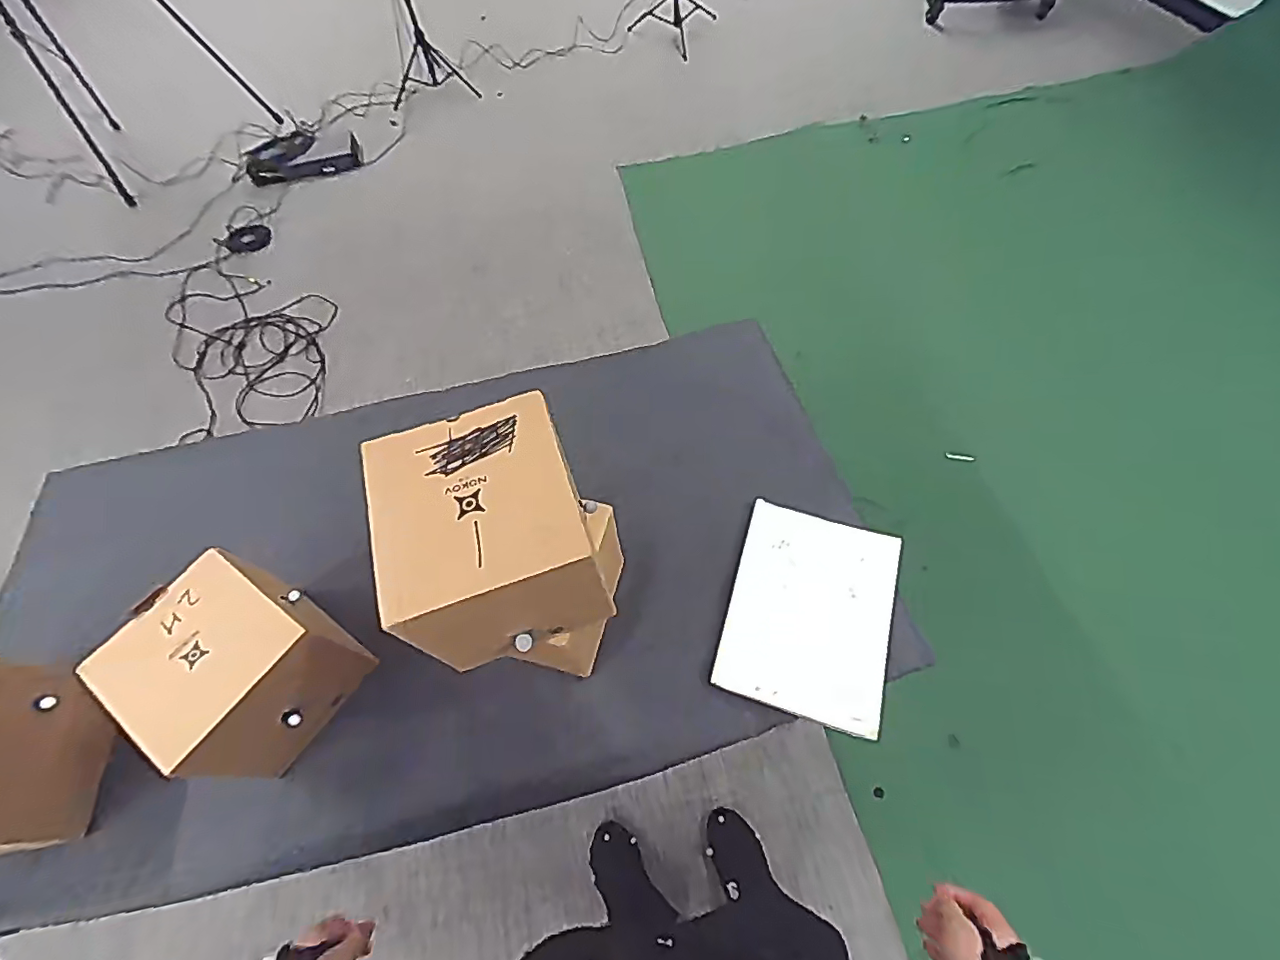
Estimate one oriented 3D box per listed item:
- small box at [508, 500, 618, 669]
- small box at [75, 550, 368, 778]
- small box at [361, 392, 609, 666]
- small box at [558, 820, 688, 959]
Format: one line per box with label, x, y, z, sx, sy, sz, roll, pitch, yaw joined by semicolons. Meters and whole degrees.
small box;-0.133;0.121;0.662;0.179;0.176;0.168;11;62;11
small box;-0.462;0.215;0.629;0.179;0.176;0.168;30;66;19
small box;-0.137;0.053;0.511;0.168;0.176;0.179;-19;61;-6
small box;-0.026;0.819;1.081;0.176;0.168;0.179;40;43;-9
